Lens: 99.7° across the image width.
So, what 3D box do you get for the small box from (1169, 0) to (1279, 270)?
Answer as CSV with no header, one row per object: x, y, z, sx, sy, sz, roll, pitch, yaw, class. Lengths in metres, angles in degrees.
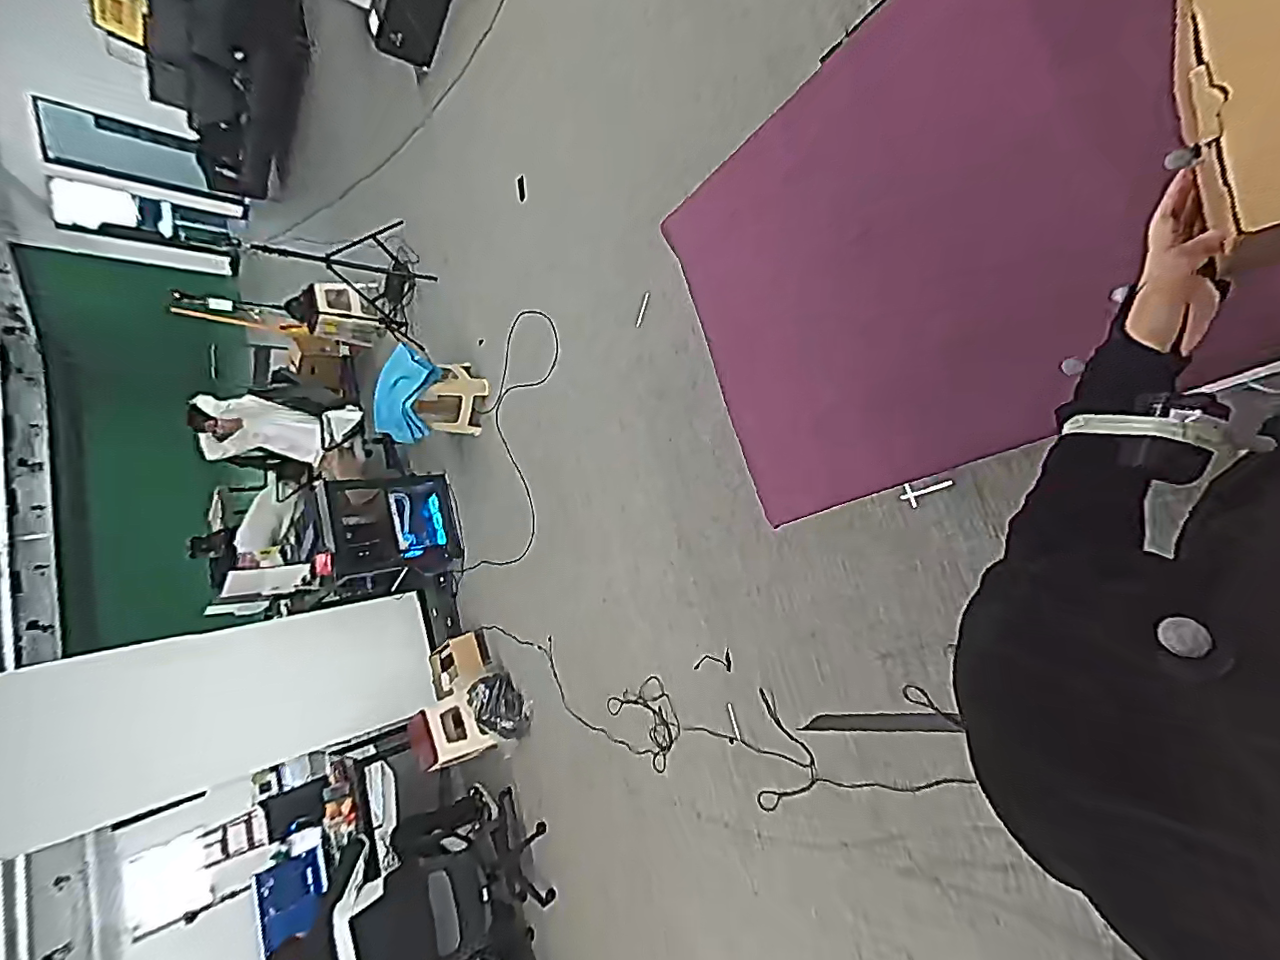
0.438,-0.238,0.307,0.179,0.176,0.168,-10,90,46,small box
